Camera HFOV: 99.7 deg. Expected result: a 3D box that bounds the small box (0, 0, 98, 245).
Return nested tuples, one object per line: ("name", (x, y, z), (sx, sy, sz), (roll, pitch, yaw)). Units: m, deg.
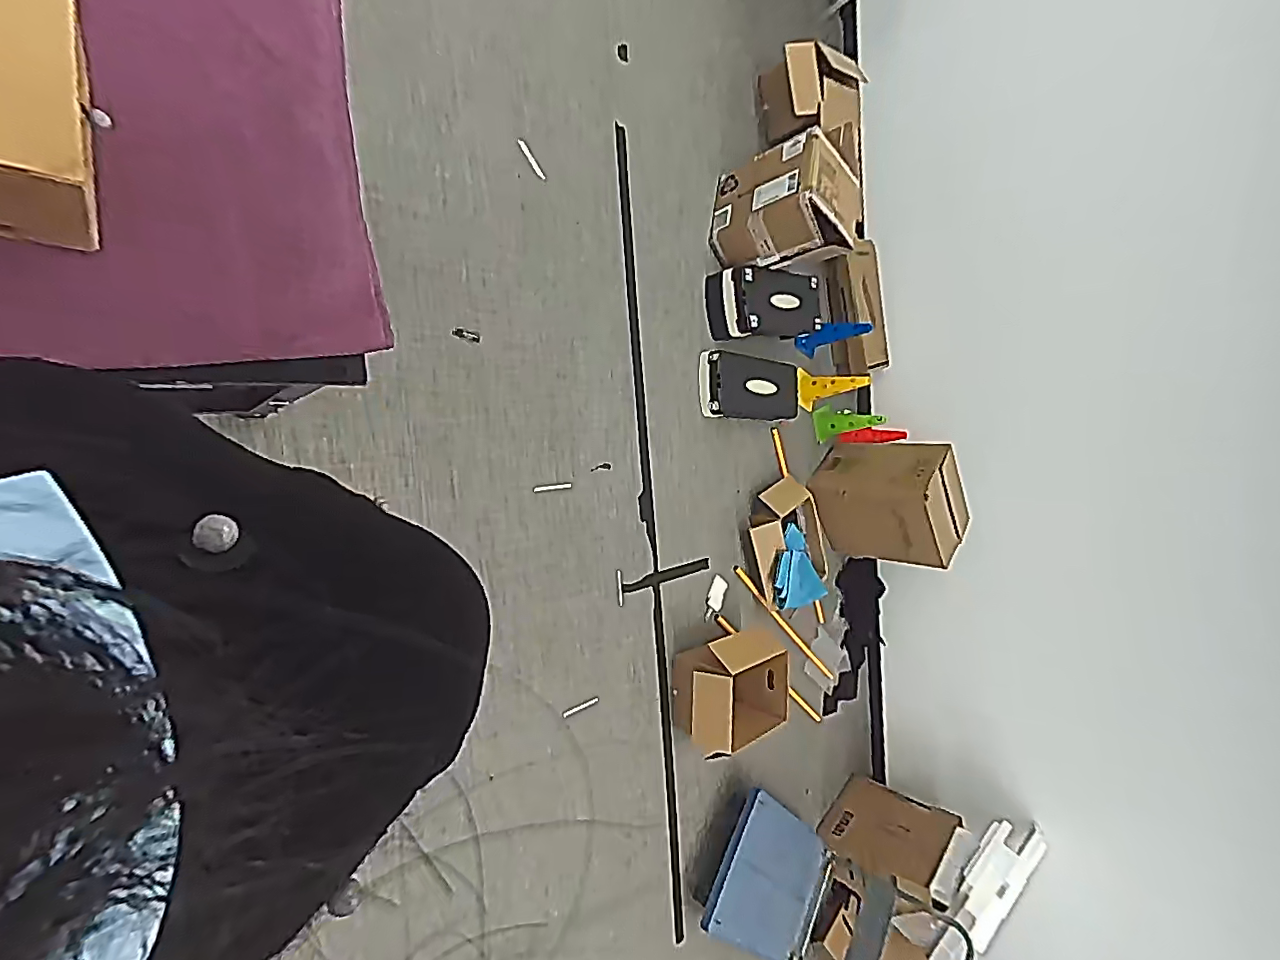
("small box", (-0.575, -0.326, 0.451), (0.168, 0.176, 0.179), (-4, 92, -44))
